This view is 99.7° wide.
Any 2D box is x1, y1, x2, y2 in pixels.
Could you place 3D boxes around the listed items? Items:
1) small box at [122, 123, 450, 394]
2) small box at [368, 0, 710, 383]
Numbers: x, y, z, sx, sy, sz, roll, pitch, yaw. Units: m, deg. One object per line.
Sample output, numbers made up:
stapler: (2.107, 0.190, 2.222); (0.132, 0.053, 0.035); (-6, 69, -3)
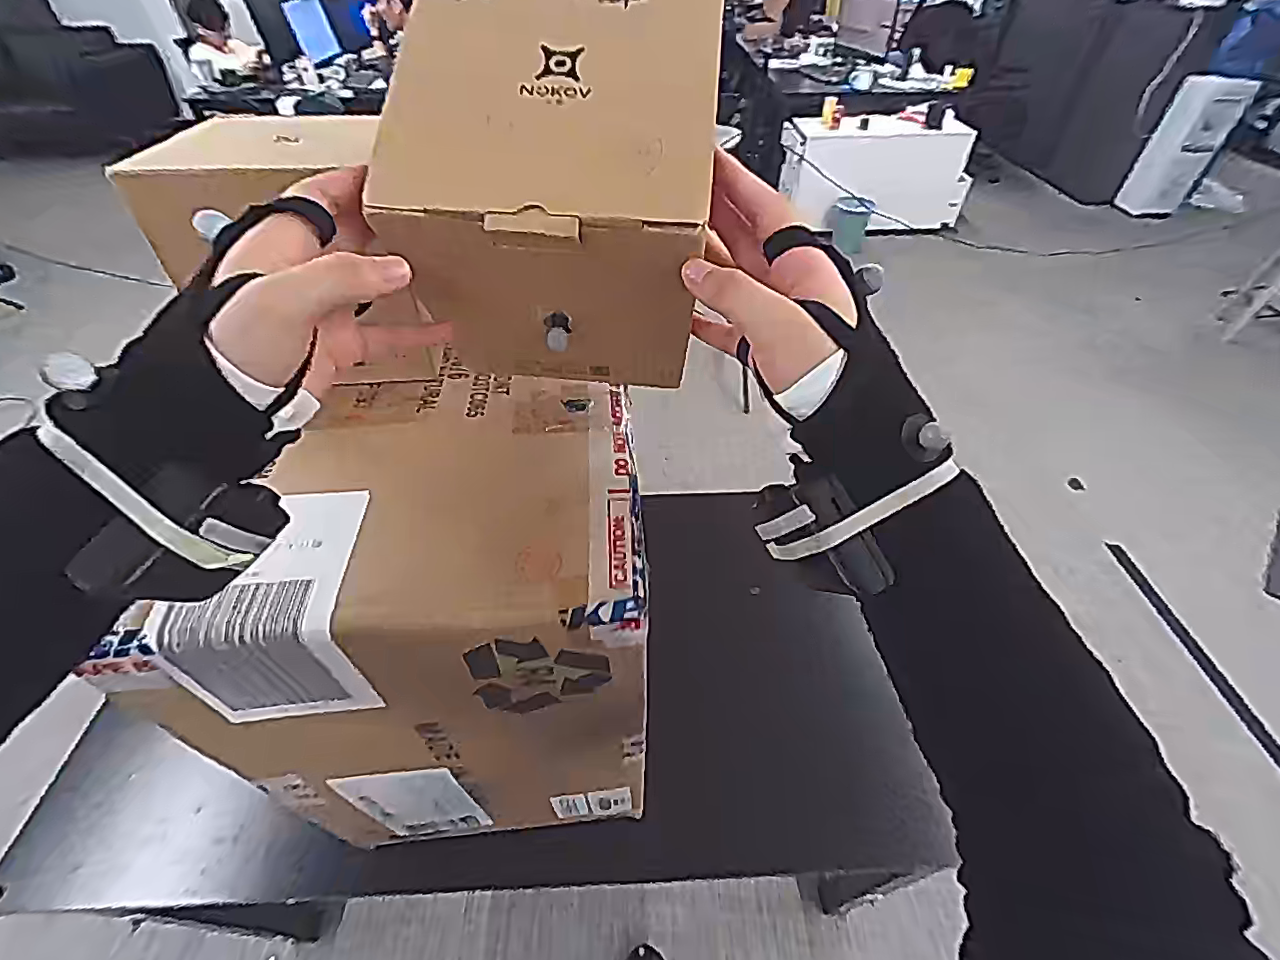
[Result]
small box: (-0.266, -0.194, 0.469); (0.168, 0.176, 0.179); (-6, 45, -7)
small box: (-0.046, -0.180, 0.362); (0.168, 0.176, 0.179); (4, 74, 2)
